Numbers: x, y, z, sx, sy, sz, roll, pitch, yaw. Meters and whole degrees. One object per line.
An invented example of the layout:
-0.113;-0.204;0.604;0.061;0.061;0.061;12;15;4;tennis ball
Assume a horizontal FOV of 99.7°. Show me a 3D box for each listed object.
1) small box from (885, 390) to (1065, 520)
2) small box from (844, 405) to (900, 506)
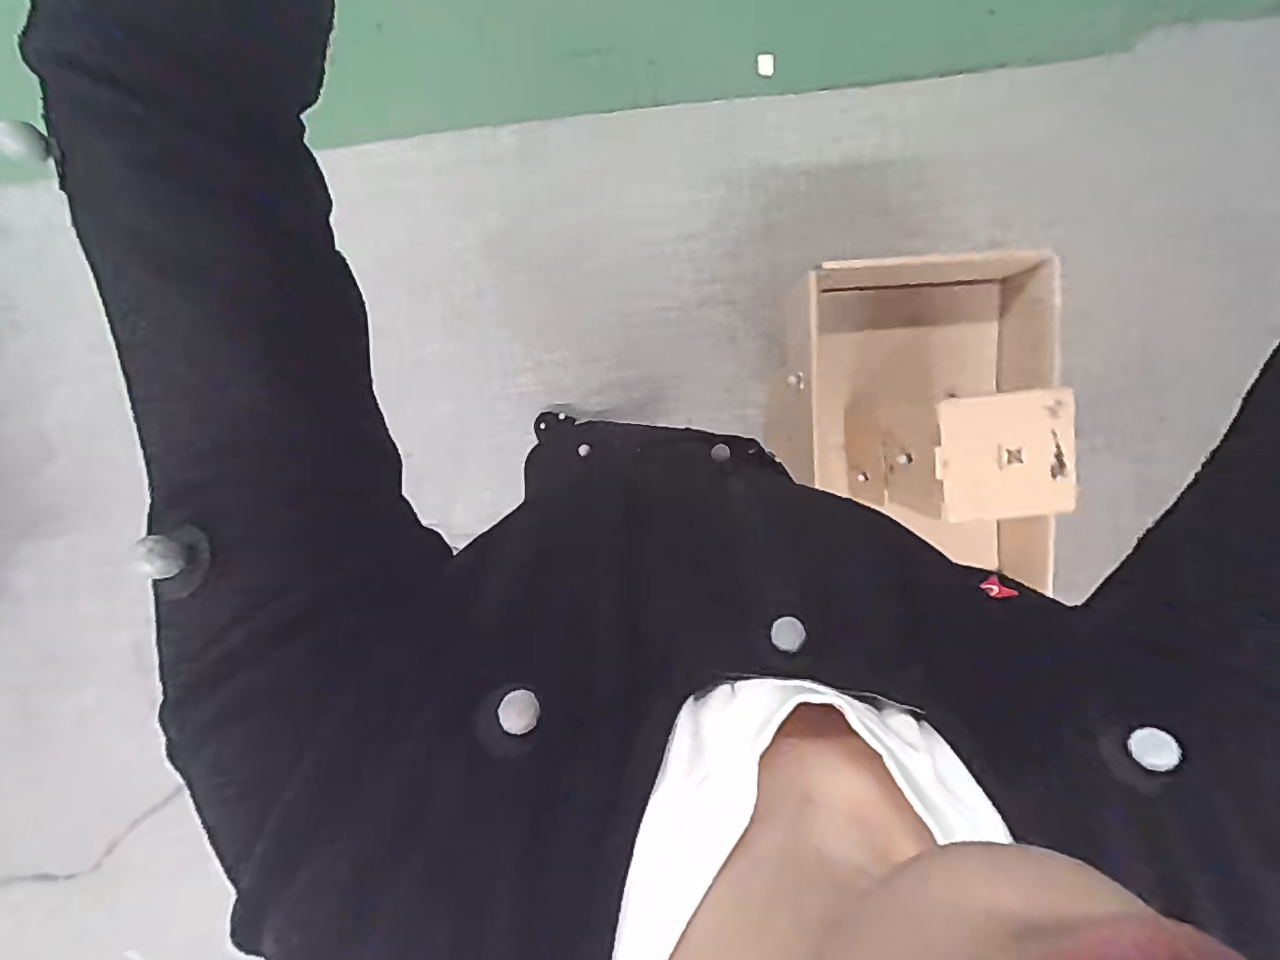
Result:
0.476;-0.040;0.796;0.179;0.176;0.168;-5;97;2;small box
0.475;-0.050;0.959;0.179;0.176;0.168;-5;97;-1;small box
